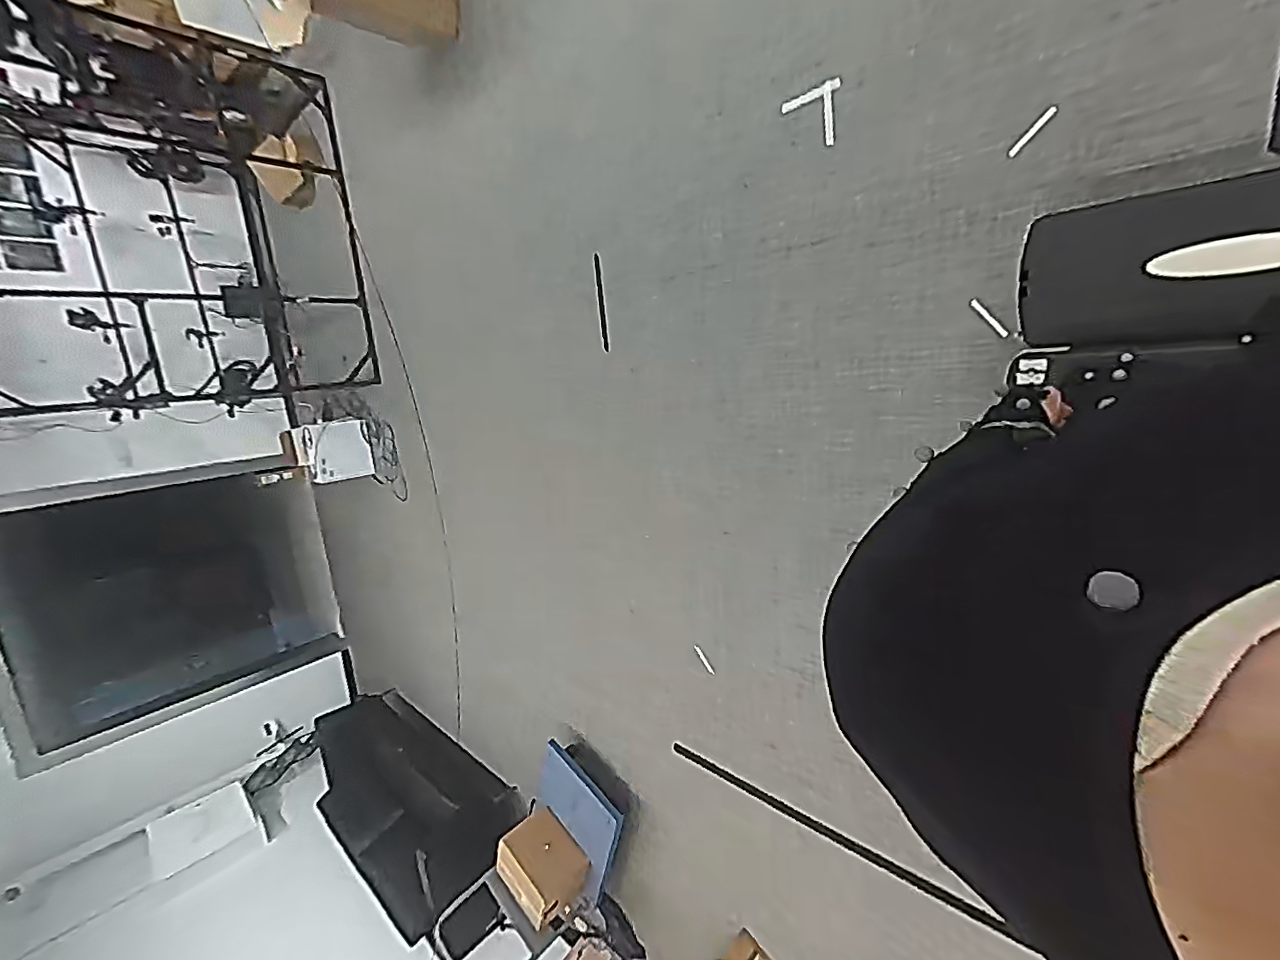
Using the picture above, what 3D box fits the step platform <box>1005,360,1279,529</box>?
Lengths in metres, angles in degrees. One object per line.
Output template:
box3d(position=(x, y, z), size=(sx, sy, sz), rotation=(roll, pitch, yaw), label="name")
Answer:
box3d(position=(1.104, -0.076, 1.021), size=(0.684, 0.204, 0.286), rotation=(14, 109, 44), label="step platform")
